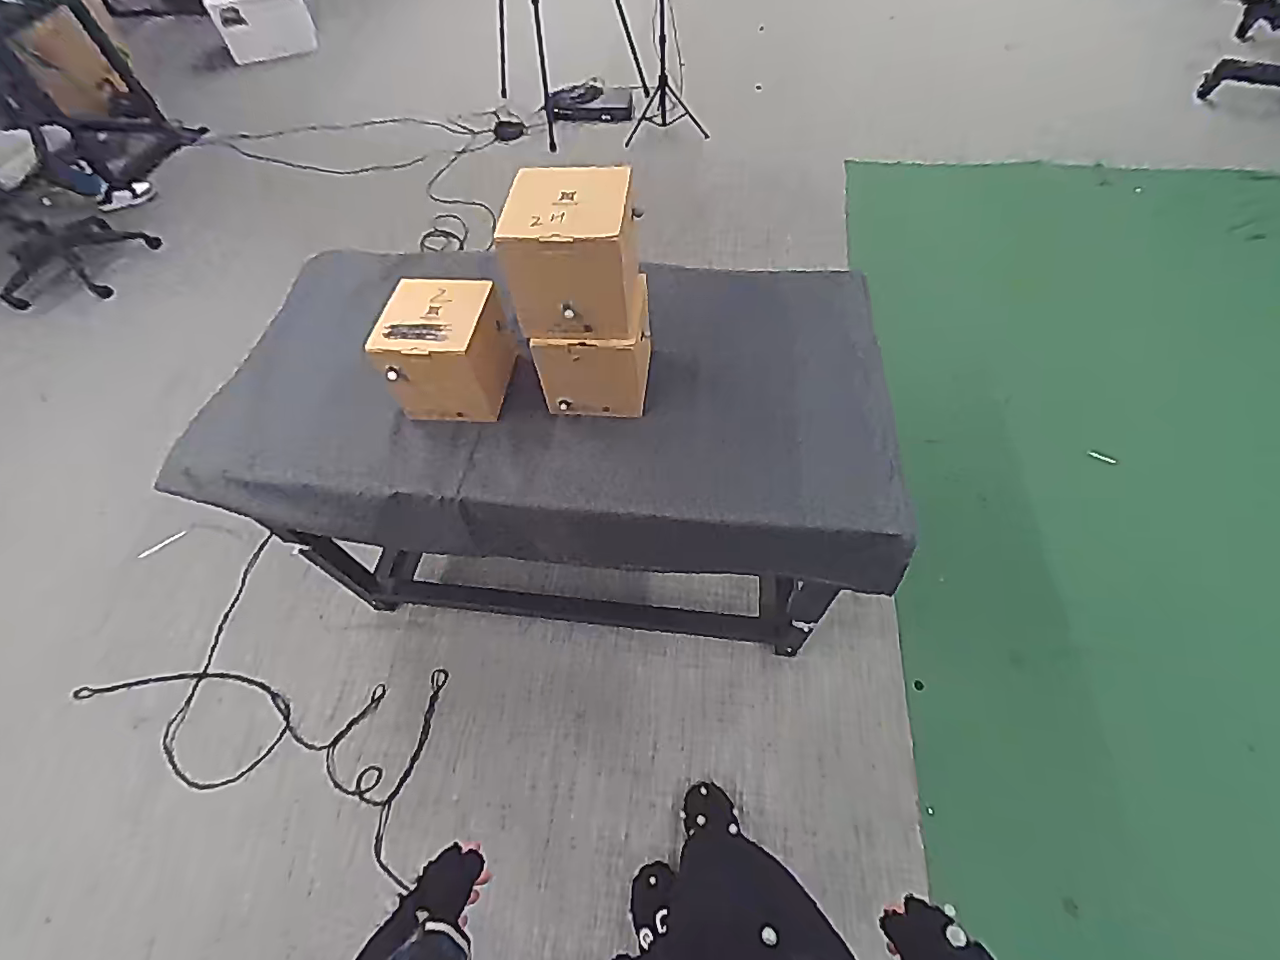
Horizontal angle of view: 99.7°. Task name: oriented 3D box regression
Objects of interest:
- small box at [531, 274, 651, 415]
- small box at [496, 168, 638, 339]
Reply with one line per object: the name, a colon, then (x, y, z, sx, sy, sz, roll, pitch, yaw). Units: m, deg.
small box: (-0.072, -0.228, 0.924, 0.168, 0.176, 0.179, 3, 57, 6)
small box: (-0.093, -0.330, 0.796, 0.168, 0.176, 0.179, 2, 58, 6)
